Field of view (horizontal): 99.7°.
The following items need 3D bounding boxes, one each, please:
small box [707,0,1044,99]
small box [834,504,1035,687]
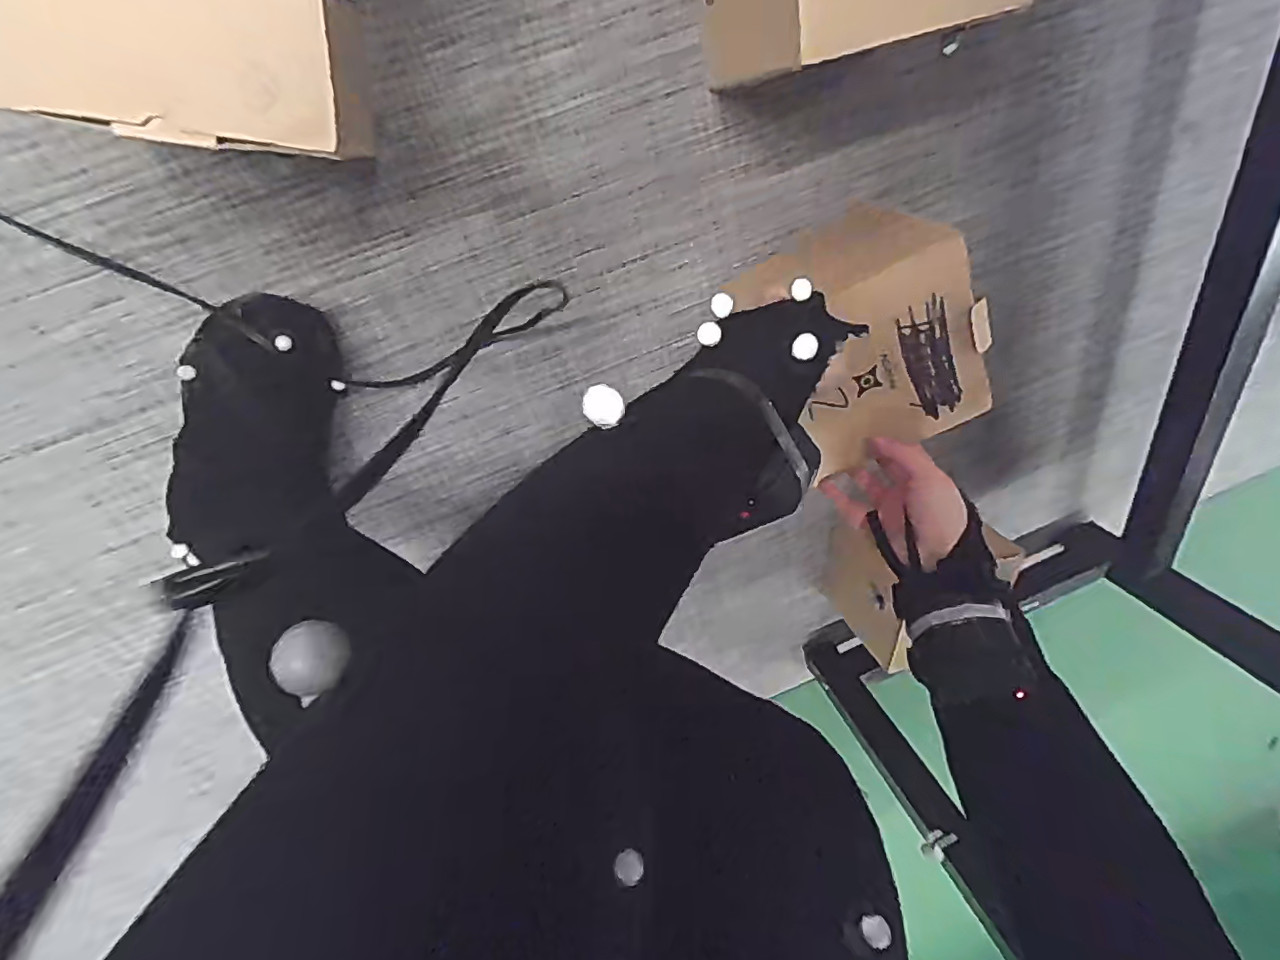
[{"bbox_3d":[0.147,-0.386,0.374,0.179,0.176,0.168,-19,123,-6],"label":"small box"},{"bbox_3d":[0.395,0.150,0.761,0.168,0.176,0.179,-11,124,-10],"label":"small box"}]
